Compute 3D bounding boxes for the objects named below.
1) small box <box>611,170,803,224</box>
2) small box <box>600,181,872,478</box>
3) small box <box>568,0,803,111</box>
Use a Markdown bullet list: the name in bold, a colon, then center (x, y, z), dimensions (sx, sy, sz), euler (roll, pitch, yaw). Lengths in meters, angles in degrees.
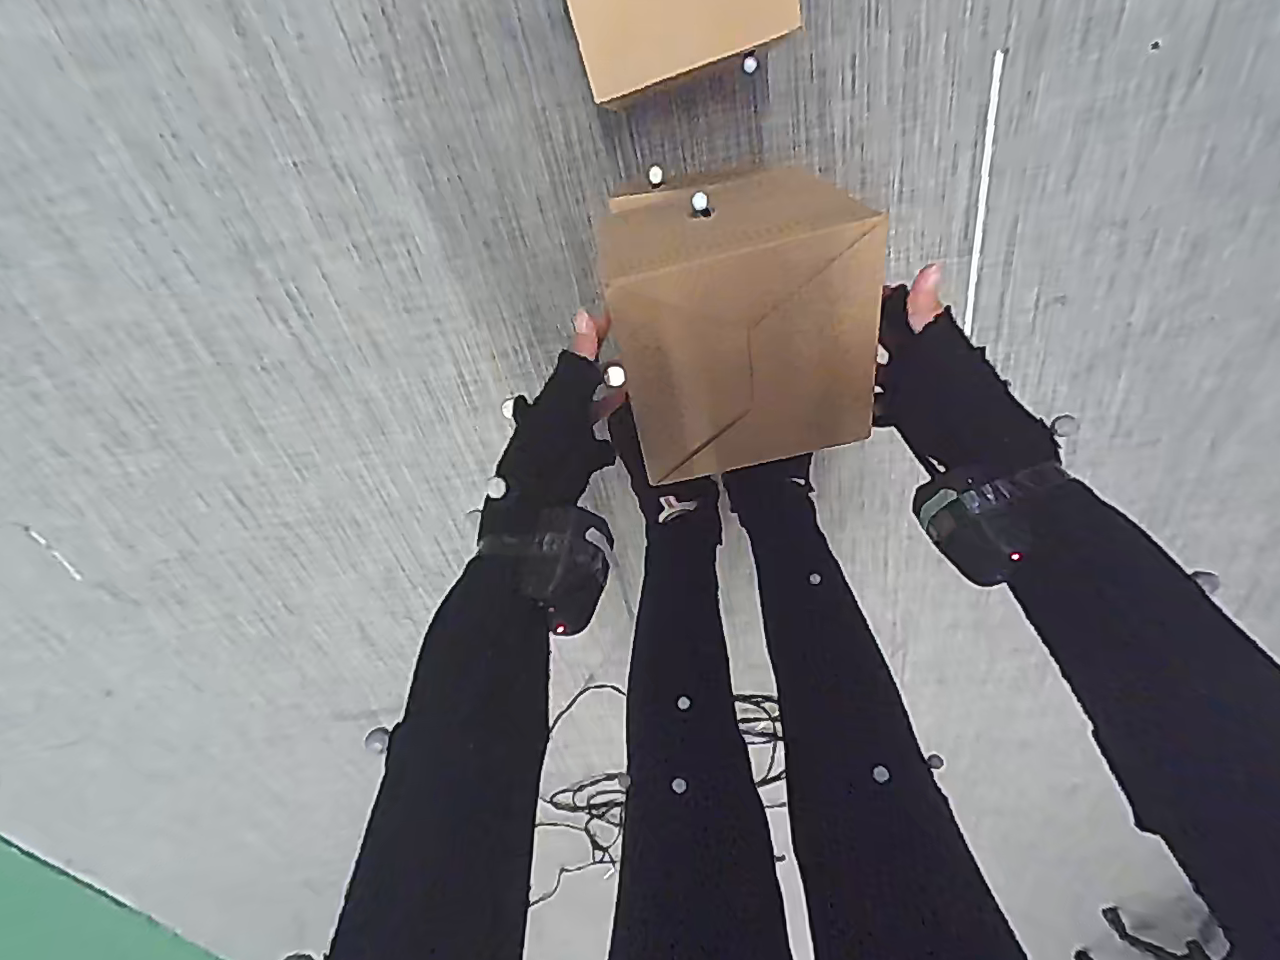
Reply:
- **small box**: center (0.070, -0.237, 0.597), dimensions (0.179, 0.176, 0.168), euler (-5, 123, 5)
- **small box**: center (0.072, -0.121, 0.437), dimensions (0.179, 0.176, 0.168), euler (-12, 126, 2)
- **small box**: center (0.027, -0.443, 0.469), dimensions (0.179, 0.176, 0.168), euler (-14, 121, 10)
